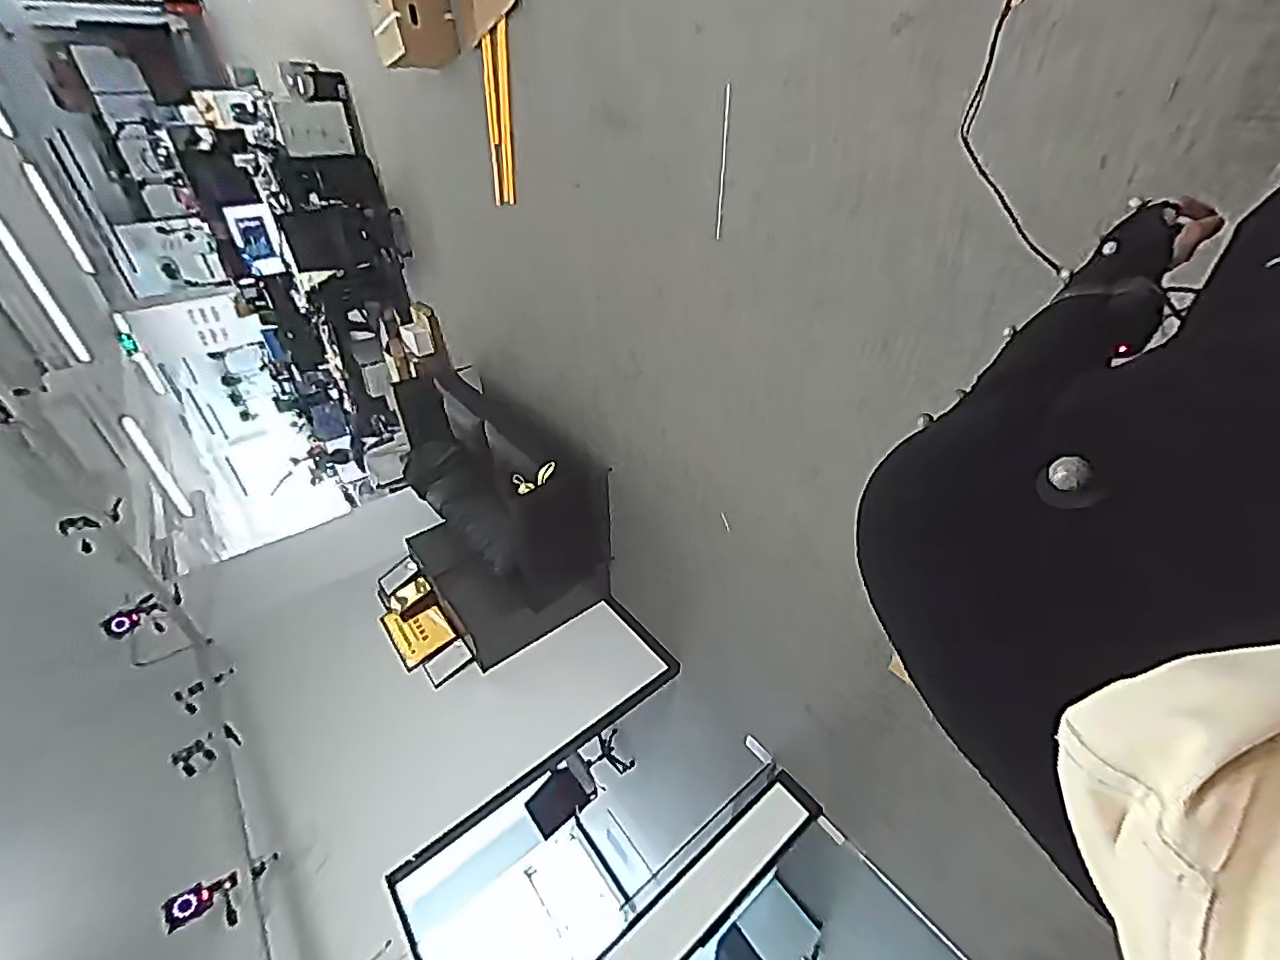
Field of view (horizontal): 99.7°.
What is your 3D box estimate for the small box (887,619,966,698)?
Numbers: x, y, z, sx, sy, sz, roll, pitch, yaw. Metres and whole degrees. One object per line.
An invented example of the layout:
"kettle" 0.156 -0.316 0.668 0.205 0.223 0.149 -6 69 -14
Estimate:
"small box" 1.030 0.635 1.941 0.179 0.176 0.168 36 139 39
